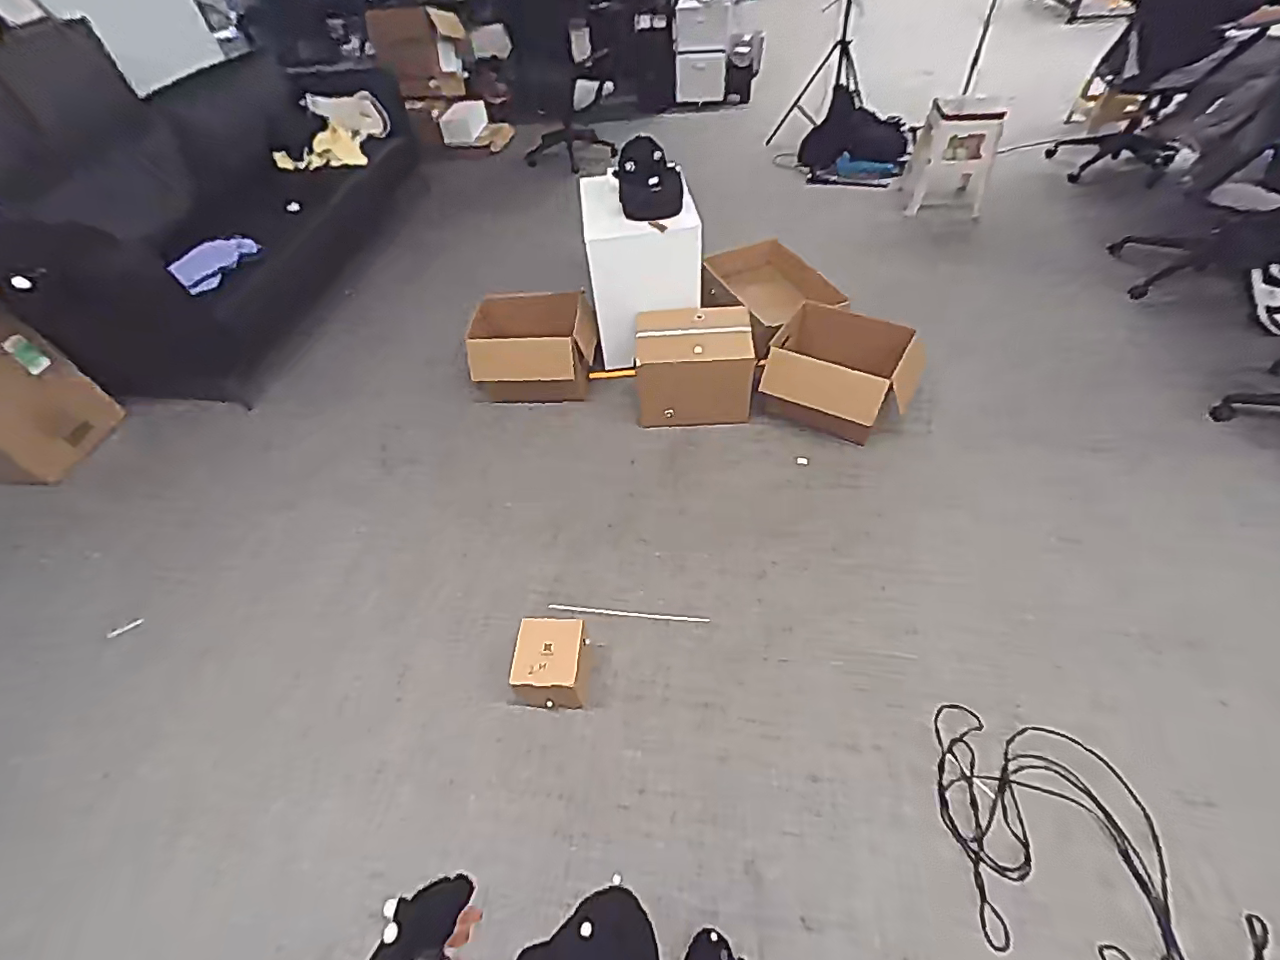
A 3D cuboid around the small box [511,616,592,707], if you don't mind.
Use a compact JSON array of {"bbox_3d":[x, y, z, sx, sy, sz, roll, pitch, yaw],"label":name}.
[{"bbox_3d":[-0.223,0.476,1.419,0.168,0.176,0.179,0,50,6],"label":"small box"}]
